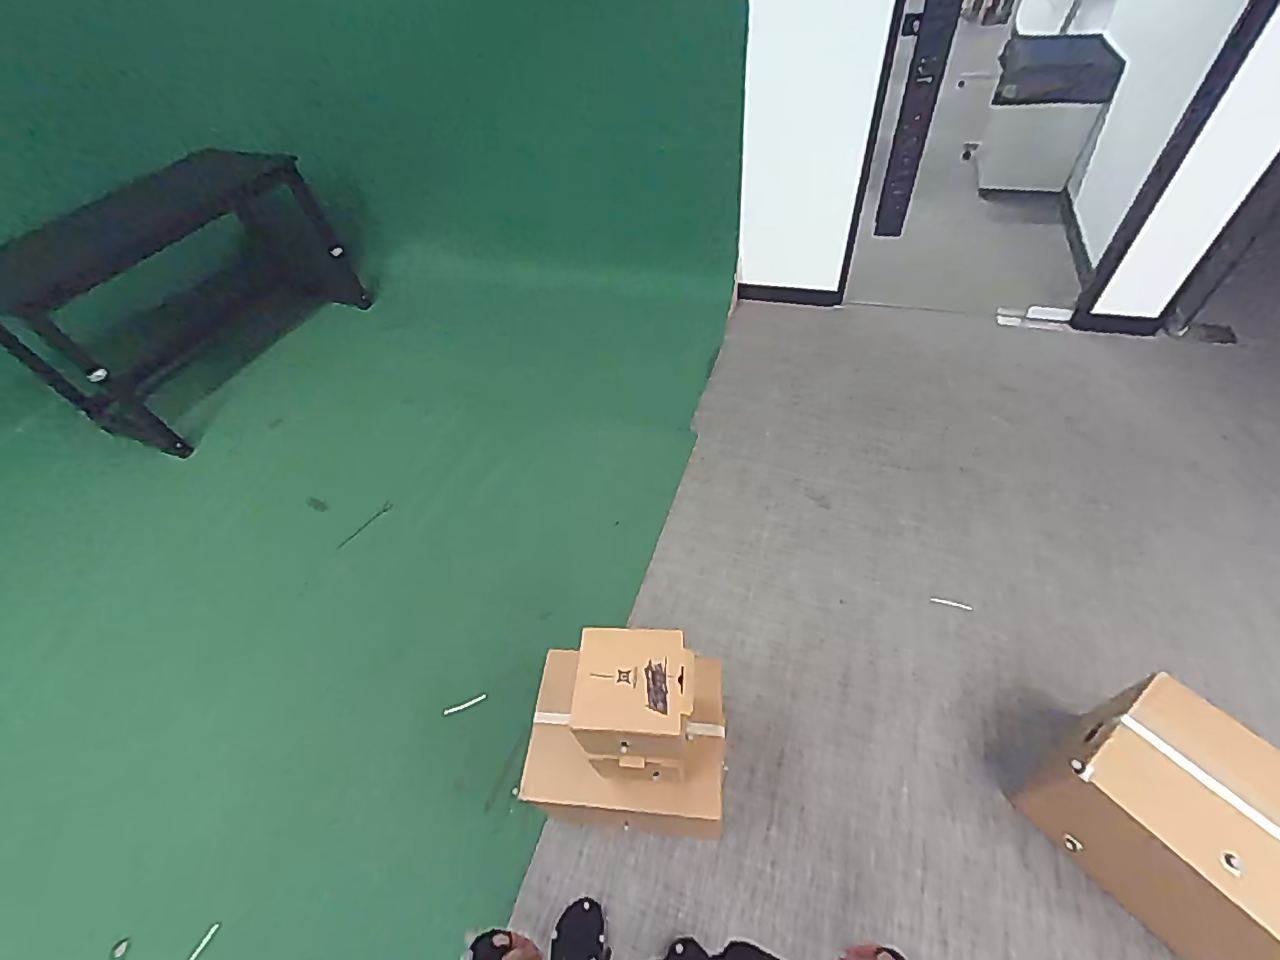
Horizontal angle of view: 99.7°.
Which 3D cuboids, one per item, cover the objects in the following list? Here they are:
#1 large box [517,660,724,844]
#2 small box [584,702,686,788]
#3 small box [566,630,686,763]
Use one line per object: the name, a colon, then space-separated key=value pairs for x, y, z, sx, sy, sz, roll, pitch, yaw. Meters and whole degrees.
large box: x=-0.015 y=0.625 z=1.242 sx=0.408 sy=0.320 sz=0.320 roll=-1 pitch=49 yaw=9
small box: x=0.000 y=0.478 z=1.042 sx=0.168 sy=0.176 sz=0.179 roll=1 pitch=50 yaw=8
small box: x=-0.013 y=0.370 z=0.919 sx=0.179 sy=0.176 sz=0.168 roll=0 pitch=50 yaw=8
